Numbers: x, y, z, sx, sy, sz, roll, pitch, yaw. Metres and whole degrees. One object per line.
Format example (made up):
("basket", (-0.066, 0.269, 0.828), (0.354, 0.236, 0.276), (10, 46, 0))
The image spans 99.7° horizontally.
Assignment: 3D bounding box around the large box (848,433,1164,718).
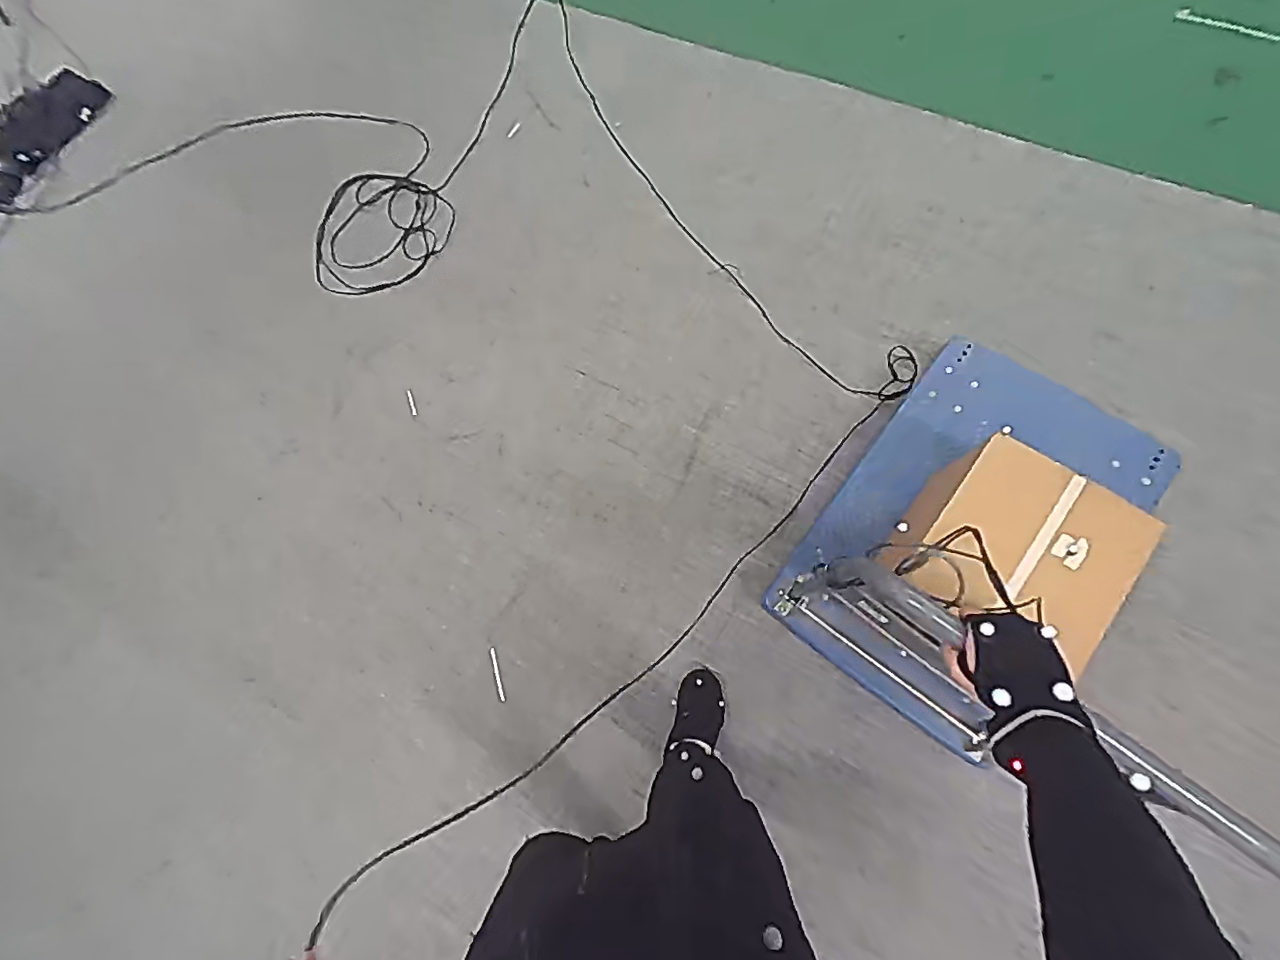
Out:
("large box", (0.683, 0.191, 1.078), (0.320, 0.320, 0.408), (36, 80, 14))
